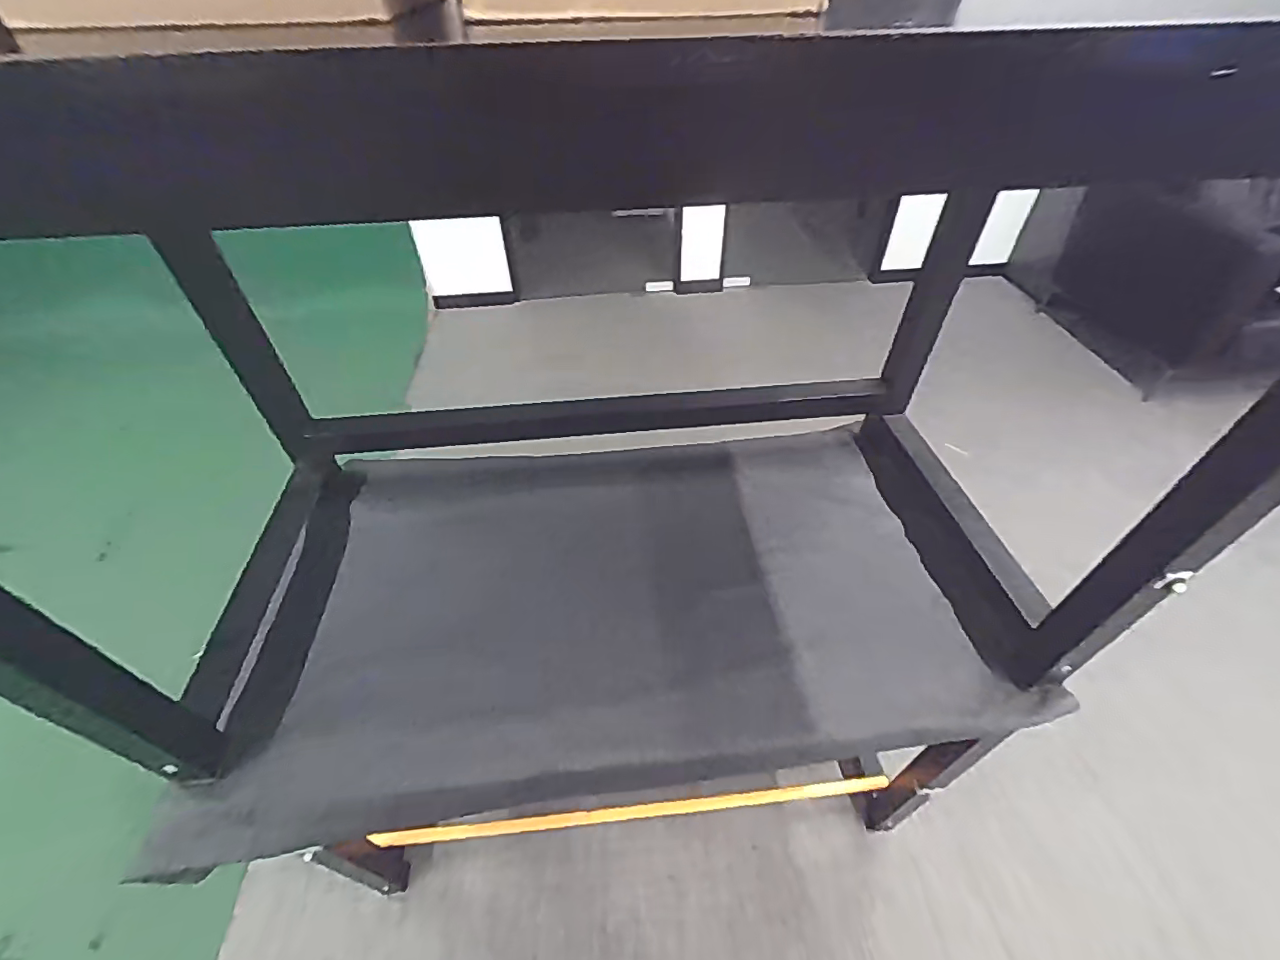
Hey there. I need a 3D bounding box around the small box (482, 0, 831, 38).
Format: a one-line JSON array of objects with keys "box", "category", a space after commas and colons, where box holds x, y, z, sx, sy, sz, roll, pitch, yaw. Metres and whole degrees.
[{"box": [0.002, -0.322, 0.248, 0.168, 0.176, 0.179, -4, 46, -3], "category": "small box"}]
